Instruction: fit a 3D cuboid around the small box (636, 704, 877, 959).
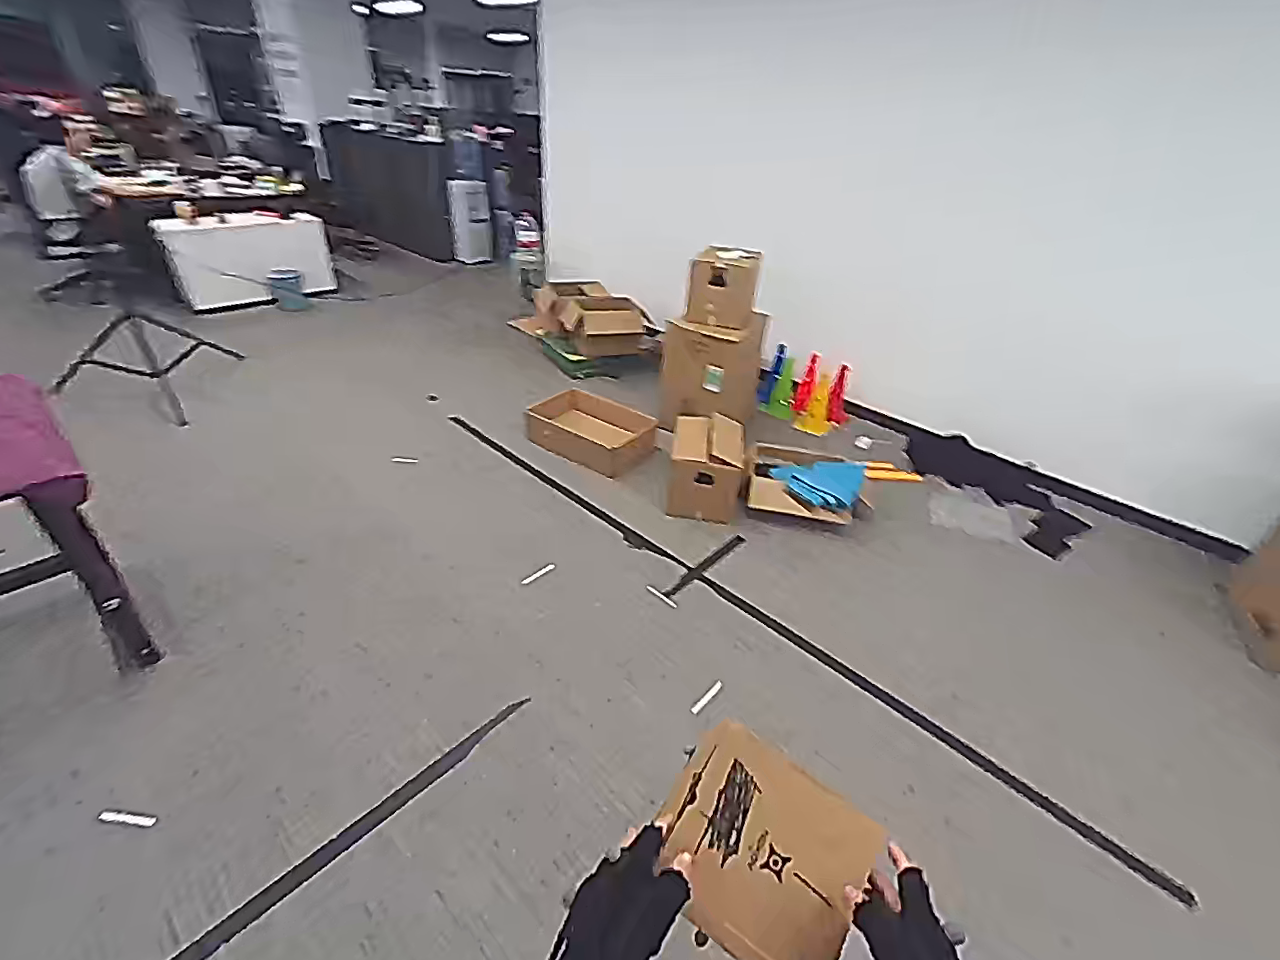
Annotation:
[{"bbox_3d":[0.108,0.370,0.571,0.179,0.176,0.168,30,62,12],"label":"small box"}]
